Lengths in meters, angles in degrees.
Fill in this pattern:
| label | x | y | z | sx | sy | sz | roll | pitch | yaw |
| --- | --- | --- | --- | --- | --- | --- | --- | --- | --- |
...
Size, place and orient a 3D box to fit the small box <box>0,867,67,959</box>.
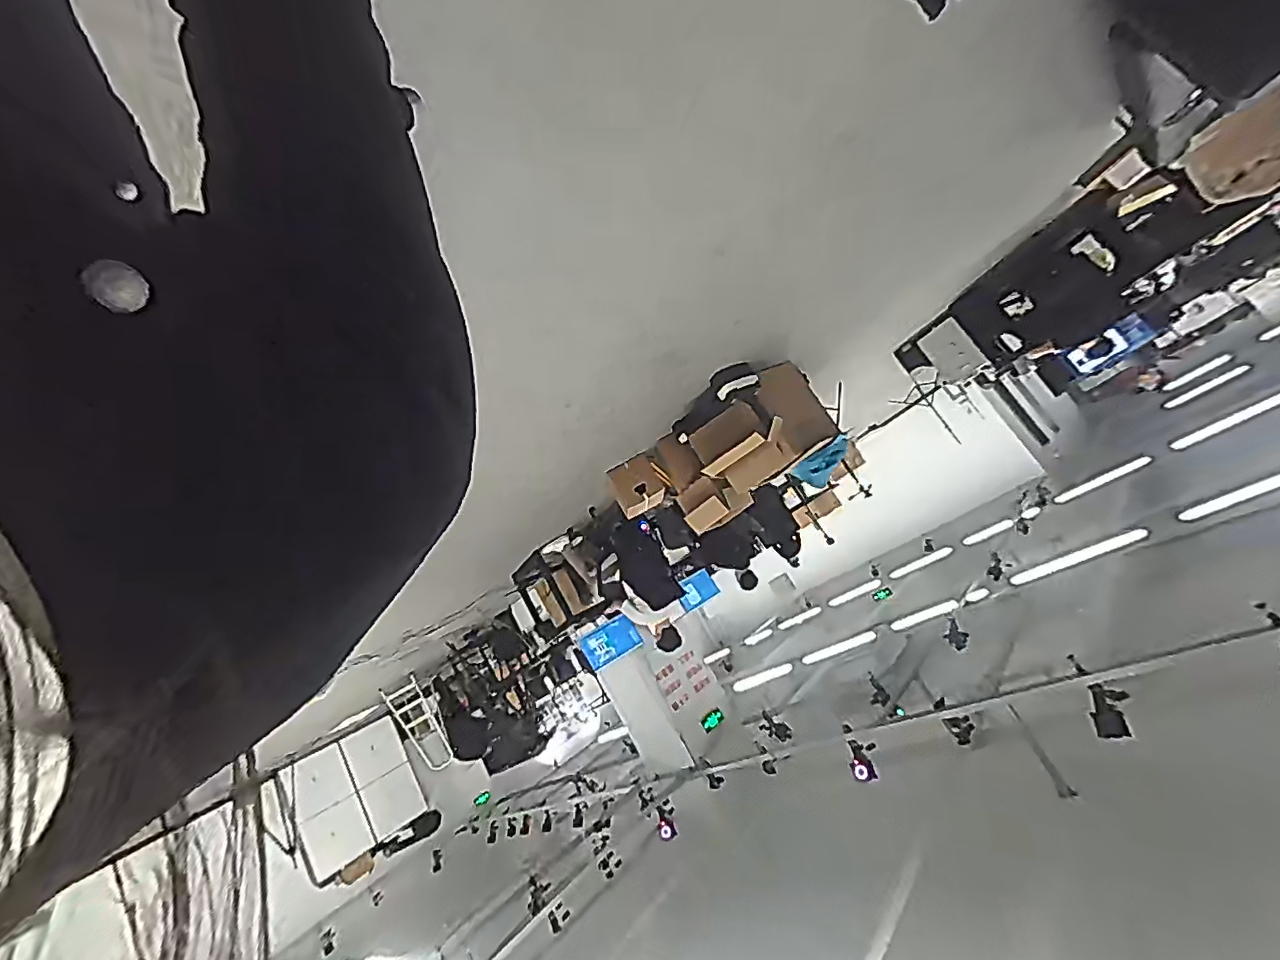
| label | x | y | z | sx | sy | sz | roll | pitch | yaw |
| --- | --- | --- | --- | --- | --- | --- | --- | --- | --- |
| small box | -1.711 | 1.199 | 1.468 | 0.179 | 0.176 | 0.168 | -18 | 161 | -46 |
